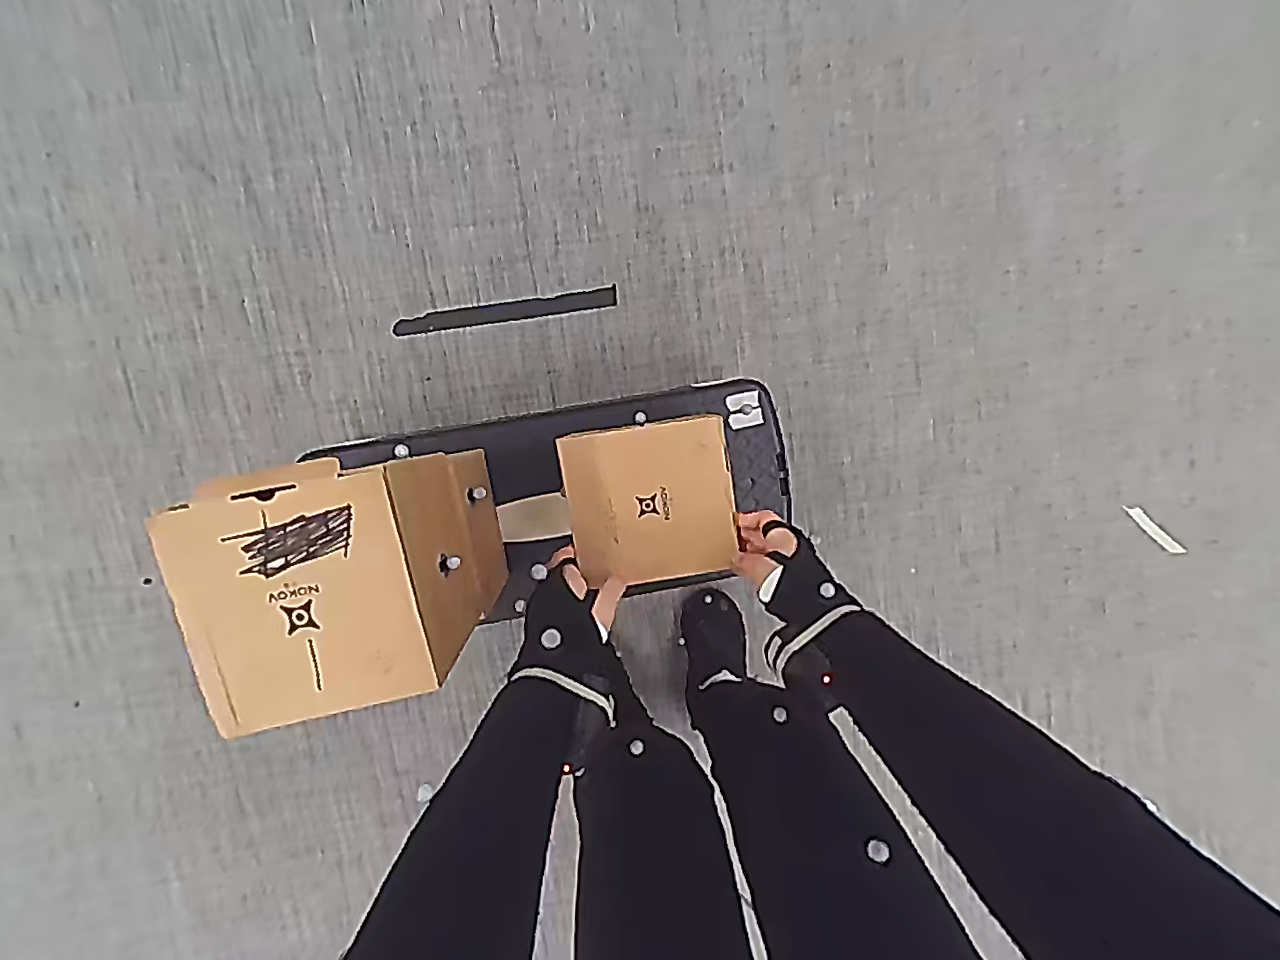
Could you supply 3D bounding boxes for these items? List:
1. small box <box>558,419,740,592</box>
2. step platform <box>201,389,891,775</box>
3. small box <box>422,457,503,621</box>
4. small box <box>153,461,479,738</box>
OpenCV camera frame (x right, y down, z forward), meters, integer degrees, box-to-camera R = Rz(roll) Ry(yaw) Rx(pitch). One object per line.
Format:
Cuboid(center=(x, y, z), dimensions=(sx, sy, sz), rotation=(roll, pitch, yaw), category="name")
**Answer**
Cuboid(center=(0.007, 0.018, 0.645), dimensions=(0.179, 0.176, 0.168), rotation=(-9, 97, -1), category="small box")
Cuboid(center=(-0.092, 0.091, 0.617), dimensions=(0.684, 0.204, 0.286), rotation=(-10, 97, -4), category="step platform")
Cuboid(center=(-0.264, 0.068, 0.634), dimensions=(0.168, 0.176, 0.179), rotation=(-10, 97, -4), category="small box")
Cuboid(center=(-0.252, 0.082, 0.471), dimensions=(0.168, 0.176, 0.179), rotation=(-12, 98, -4), category="small box")
